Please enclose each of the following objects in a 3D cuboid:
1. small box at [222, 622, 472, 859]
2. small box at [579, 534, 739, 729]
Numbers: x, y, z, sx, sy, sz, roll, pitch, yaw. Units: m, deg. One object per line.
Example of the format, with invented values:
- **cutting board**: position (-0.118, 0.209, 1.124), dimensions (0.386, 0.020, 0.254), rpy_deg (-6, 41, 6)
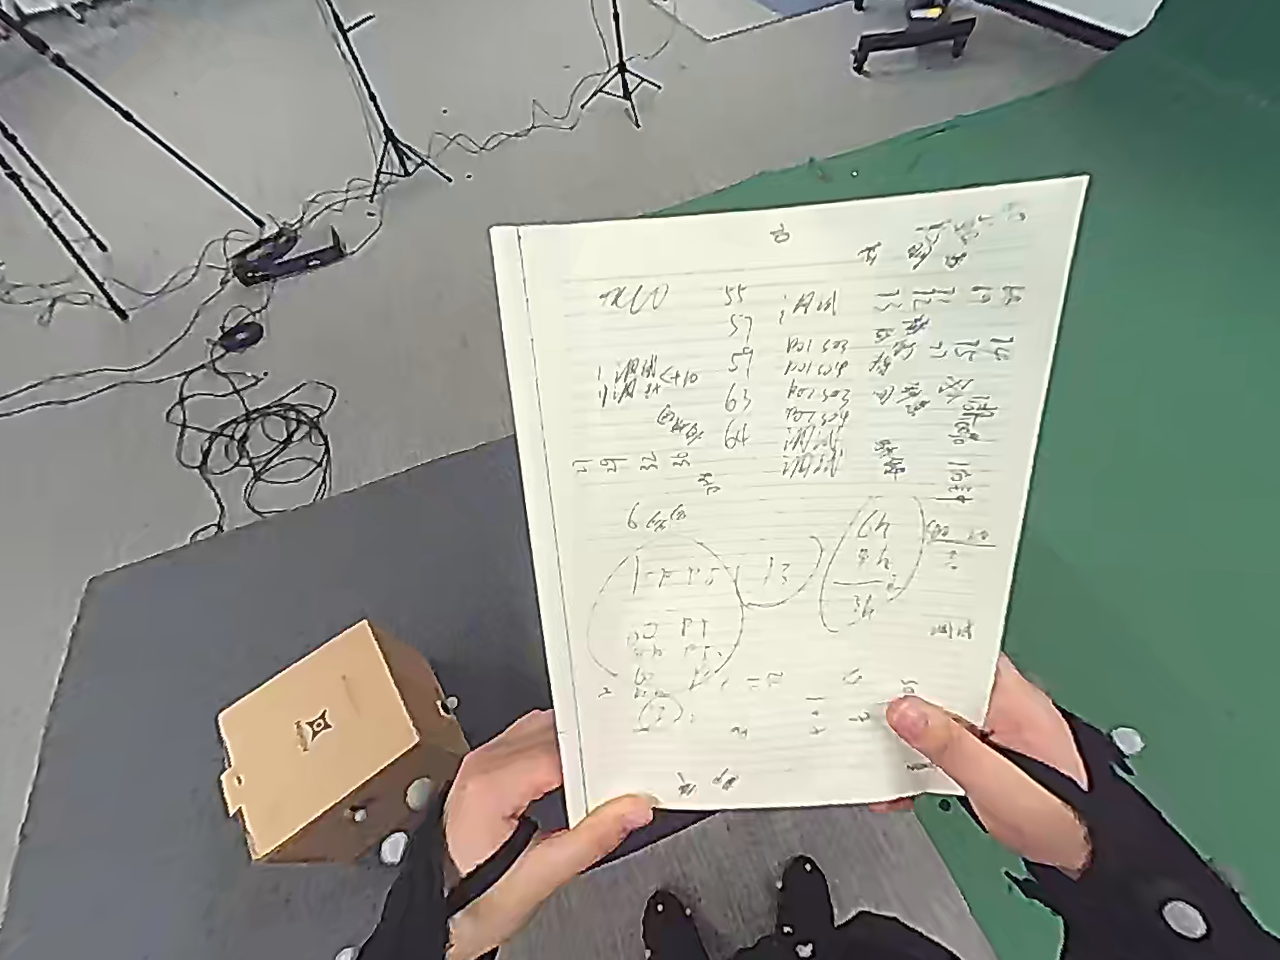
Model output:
- **small box**: position (-0.331, 0.306, 0.635), dimensions (0.179, 0.176, 0.168), rpy_deg (-34, 59, -16)
- **small box**: position (0.022, 0.189, 0.660), dimensions (0.168, 0.176, 0.179), rpy_deg (-8, 56, 3)
